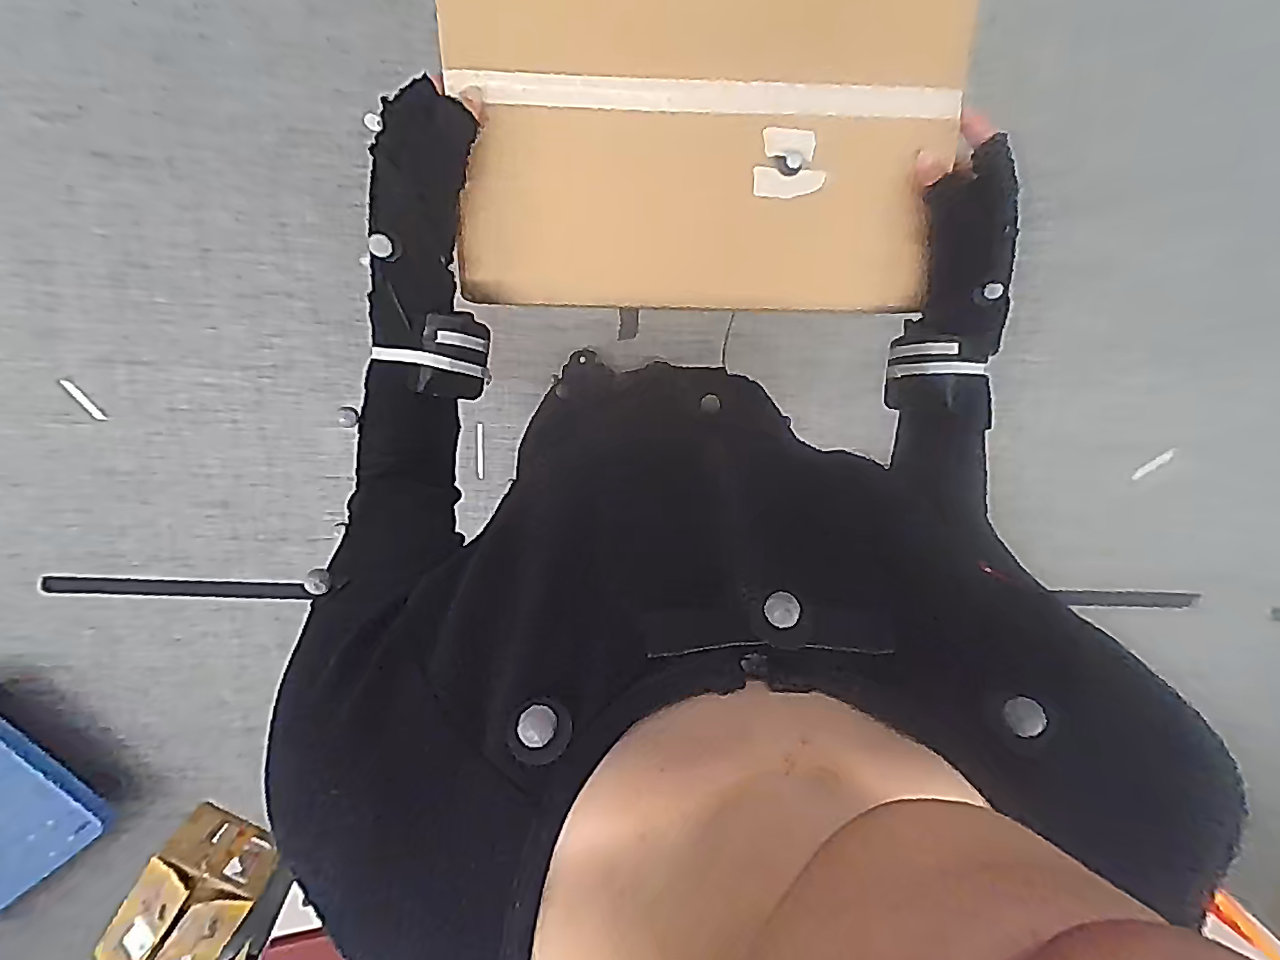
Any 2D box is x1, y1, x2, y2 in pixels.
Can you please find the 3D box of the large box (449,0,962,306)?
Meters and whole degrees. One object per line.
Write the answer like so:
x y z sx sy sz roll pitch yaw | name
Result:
0.043 -0.351 0.575 0.408 0.320 0.320 0 108 -4 | large box
